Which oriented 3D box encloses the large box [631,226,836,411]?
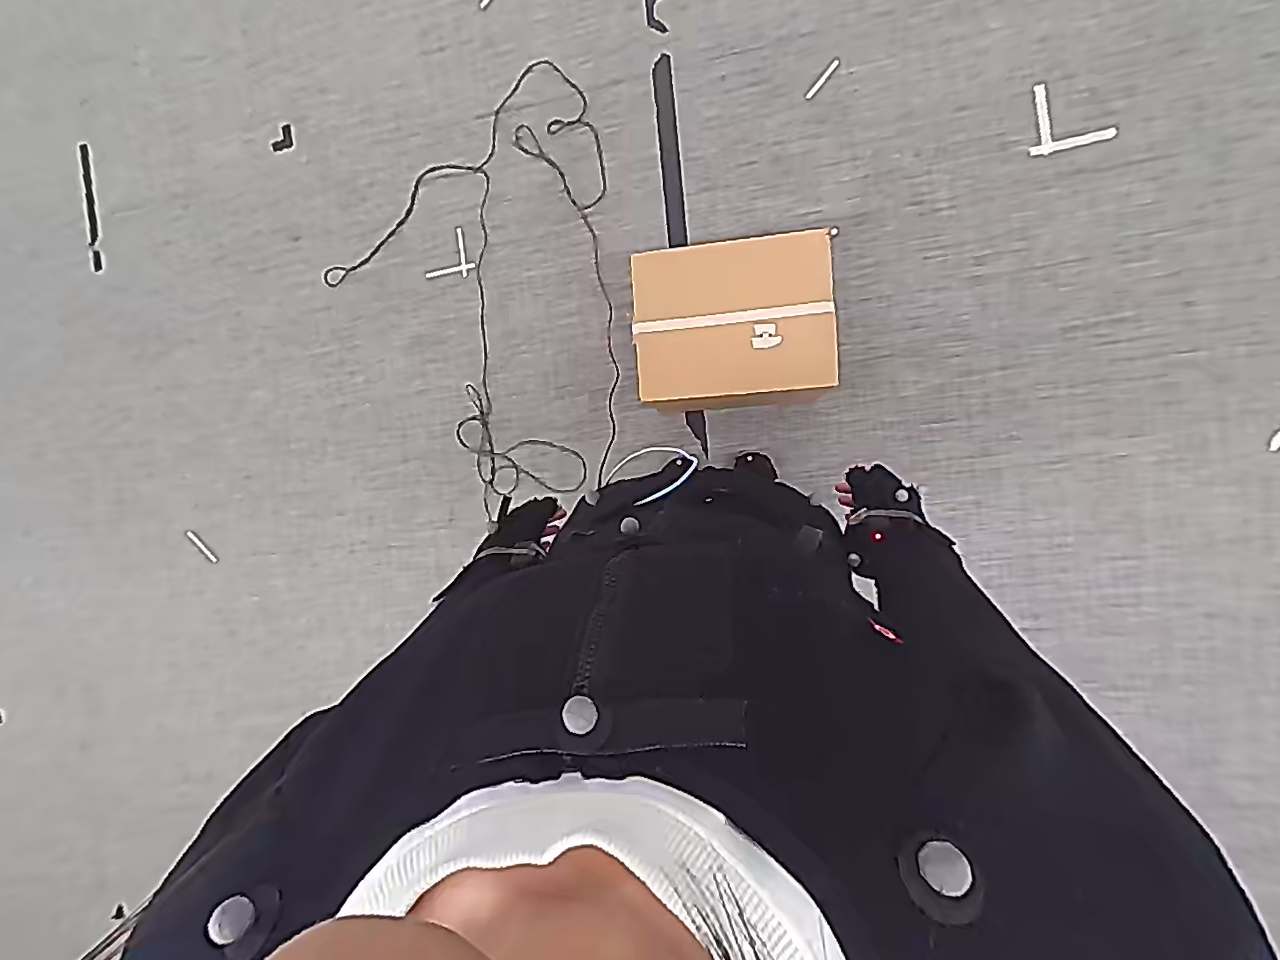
[{"bbox_3d":[0.210,-0.345,1.258,0.408,0.320,0.320,-4,93,9],"label":"large box"}]
